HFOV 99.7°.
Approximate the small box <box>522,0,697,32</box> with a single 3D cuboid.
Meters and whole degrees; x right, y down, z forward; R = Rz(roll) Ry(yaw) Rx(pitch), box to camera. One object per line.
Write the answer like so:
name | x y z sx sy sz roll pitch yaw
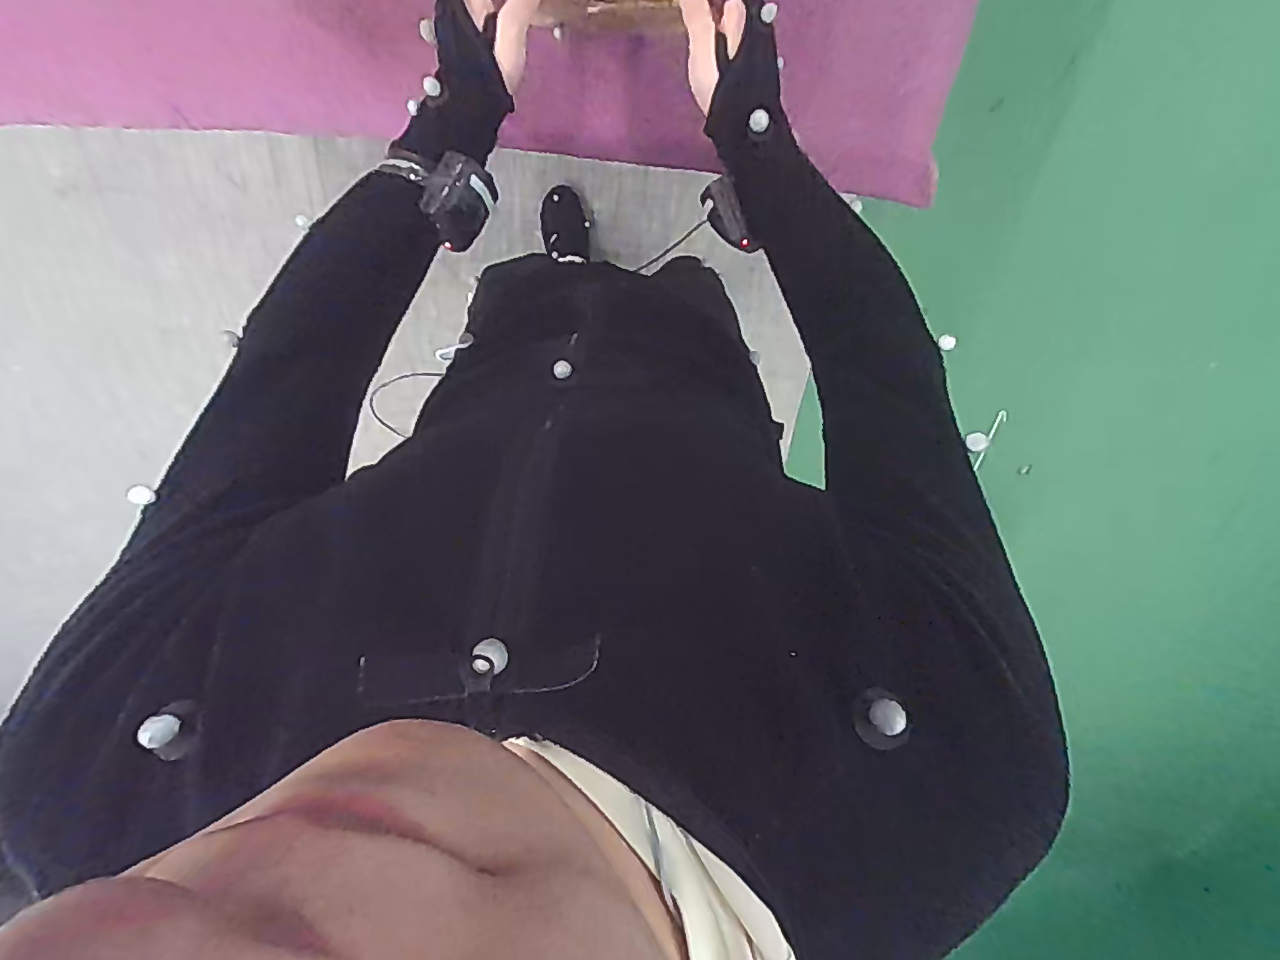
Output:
small box | -0.031 -0.527 0.482 0.168 0.176 0.179 -1 122 -7
